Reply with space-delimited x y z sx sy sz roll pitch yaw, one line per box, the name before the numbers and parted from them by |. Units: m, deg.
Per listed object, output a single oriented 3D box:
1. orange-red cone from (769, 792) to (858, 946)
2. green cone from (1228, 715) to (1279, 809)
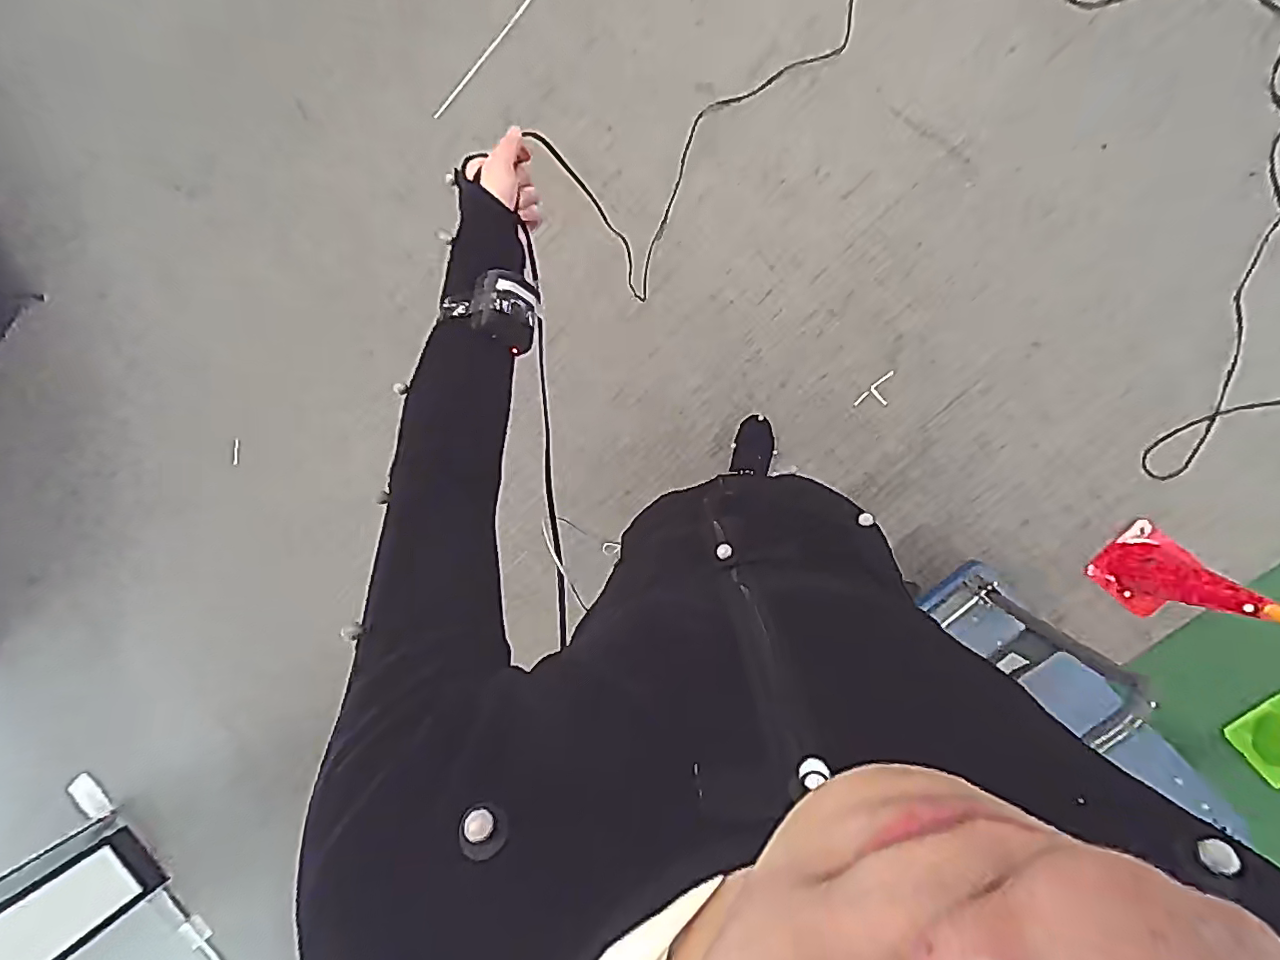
orange-red cone | 0.479 1.045 1.417 0.198 0.360 0.199 -41 87 11
green cone | 1.599 0.713 1.191 0.200 0.368 0.202 -41 86 9
